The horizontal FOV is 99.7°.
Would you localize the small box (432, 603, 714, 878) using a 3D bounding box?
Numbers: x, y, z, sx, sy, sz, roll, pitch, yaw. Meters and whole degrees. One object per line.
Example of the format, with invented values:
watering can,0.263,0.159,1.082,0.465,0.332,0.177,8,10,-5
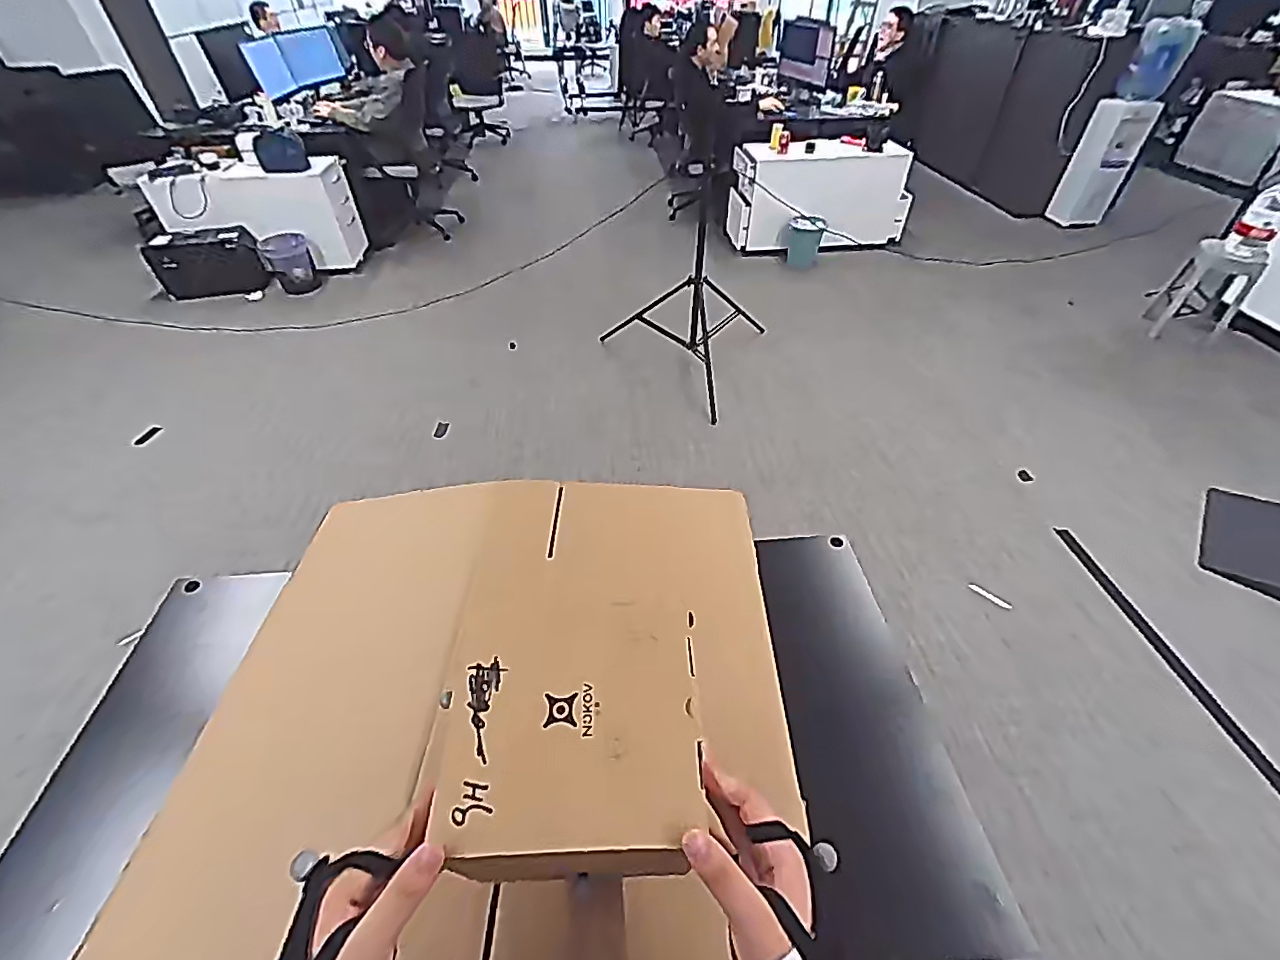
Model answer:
small box,-0.046,0.215,0.444,0.179,0.176,0.168,-1,48,-3
